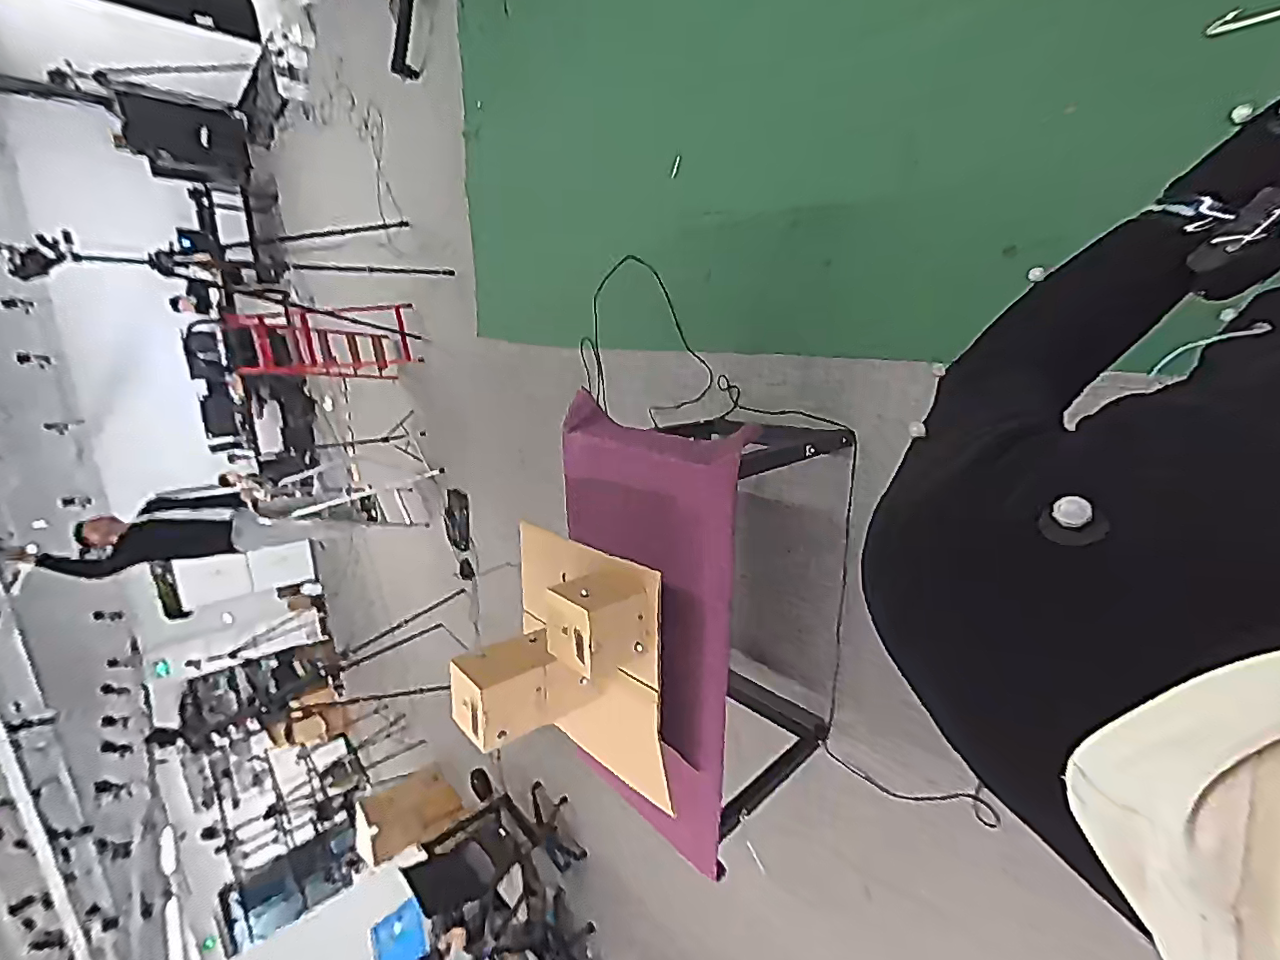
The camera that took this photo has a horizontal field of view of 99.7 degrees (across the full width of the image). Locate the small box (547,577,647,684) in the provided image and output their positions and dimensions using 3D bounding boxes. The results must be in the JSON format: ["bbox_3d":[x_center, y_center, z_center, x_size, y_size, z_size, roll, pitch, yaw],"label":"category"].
[{"bbox_3d":[-0.097,0.340,1.264,0.179,0.176,0.168,13,107,47],"label":"small box"}]

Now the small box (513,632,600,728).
[{"bbox_3d":[-0.221,0.513,1.435,0.179,0.176,0.168,13,107,45],"label":"small box"}]
